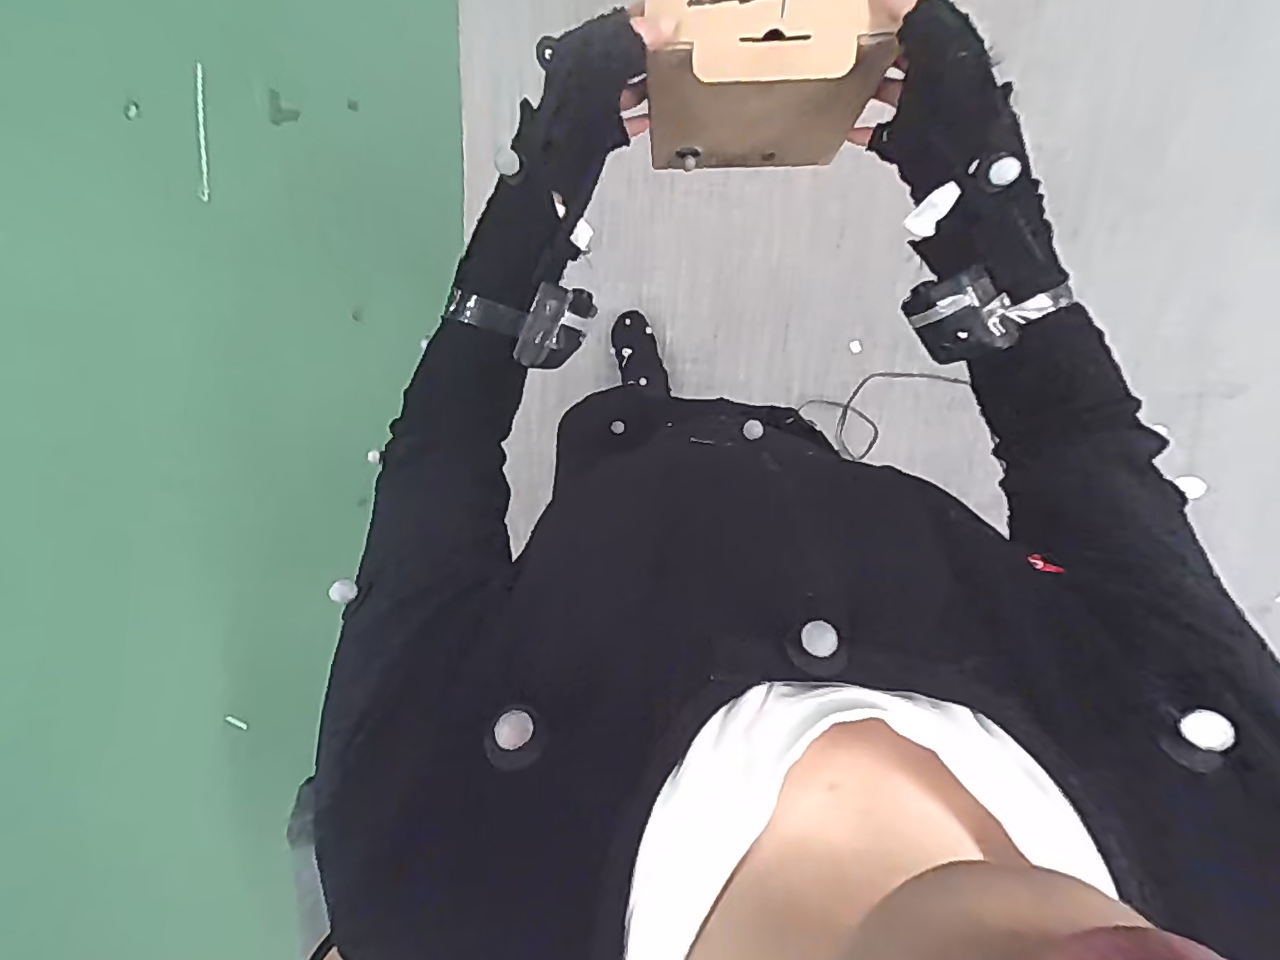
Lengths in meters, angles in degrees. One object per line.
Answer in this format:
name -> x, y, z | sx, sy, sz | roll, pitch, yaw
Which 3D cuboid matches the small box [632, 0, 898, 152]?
small box -> 0.083, -0.374, 0.407 | 0.168, 0.176, 0.179 | 1, 95, 2
